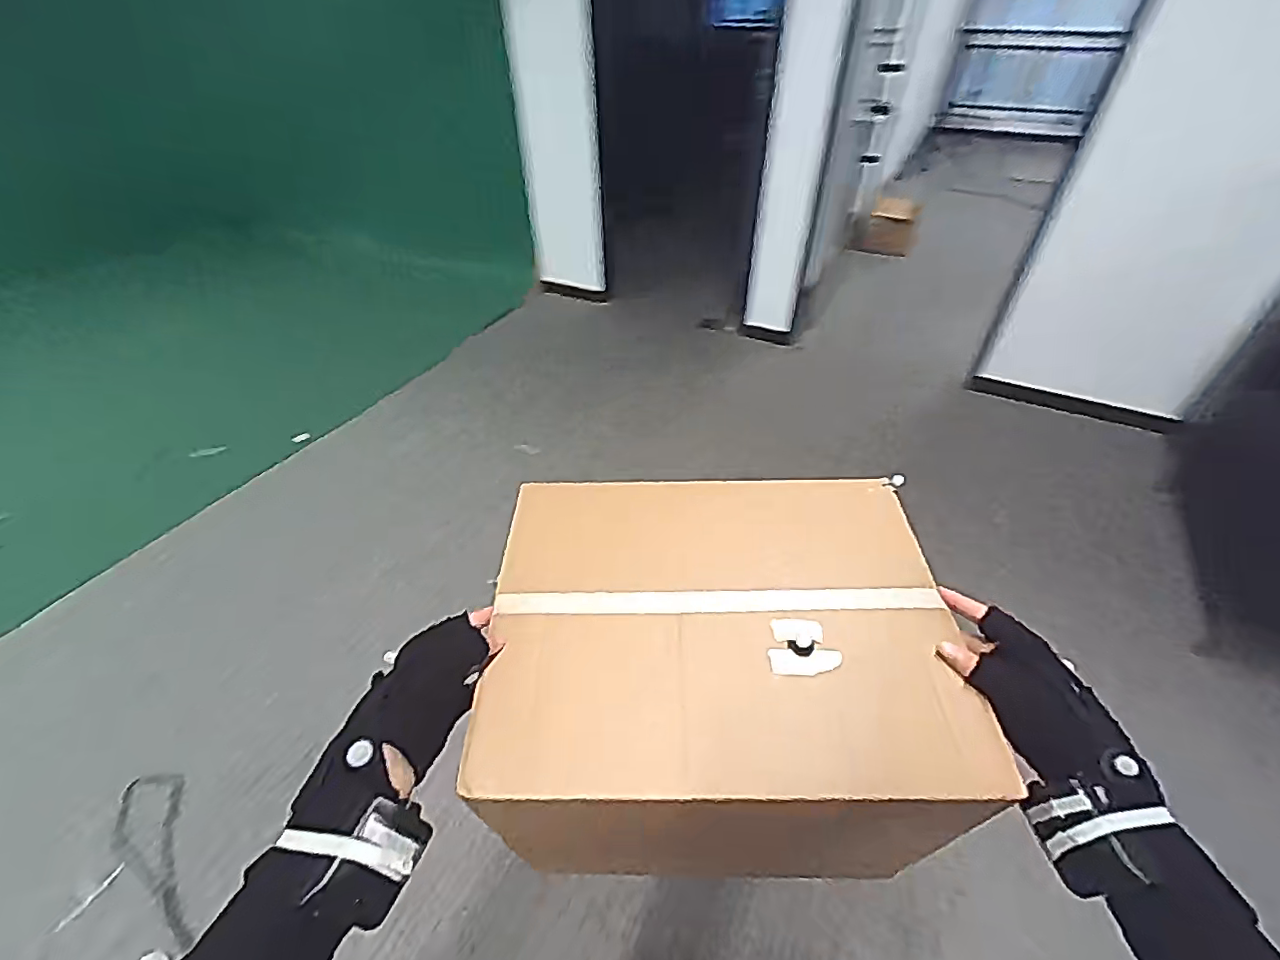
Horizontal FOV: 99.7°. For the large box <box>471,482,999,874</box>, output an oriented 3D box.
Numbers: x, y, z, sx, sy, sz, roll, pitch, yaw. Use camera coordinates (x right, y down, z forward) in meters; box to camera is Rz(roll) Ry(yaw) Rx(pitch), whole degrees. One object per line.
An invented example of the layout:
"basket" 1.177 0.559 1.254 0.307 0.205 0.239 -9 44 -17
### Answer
"large box" 0.070 0.222 0.608 0.408 0.320 0.320 -2 46 1
